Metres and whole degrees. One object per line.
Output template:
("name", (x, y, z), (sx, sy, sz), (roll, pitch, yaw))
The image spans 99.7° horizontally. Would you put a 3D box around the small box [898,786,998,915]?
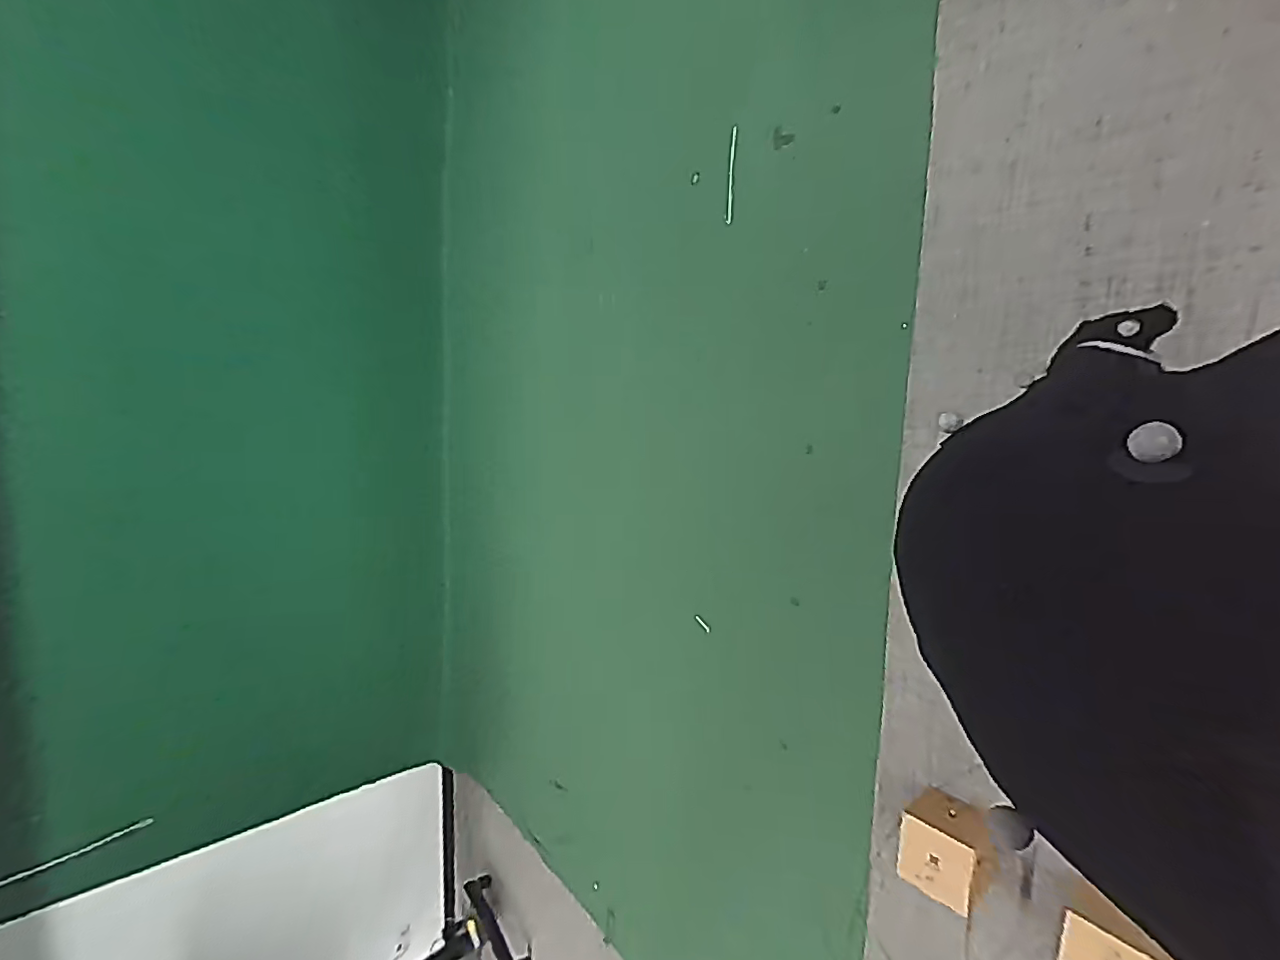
("small box", (0.774, 0.912, 1.354), (0.168, 0.176, 0.179), (10, 99, 49))
